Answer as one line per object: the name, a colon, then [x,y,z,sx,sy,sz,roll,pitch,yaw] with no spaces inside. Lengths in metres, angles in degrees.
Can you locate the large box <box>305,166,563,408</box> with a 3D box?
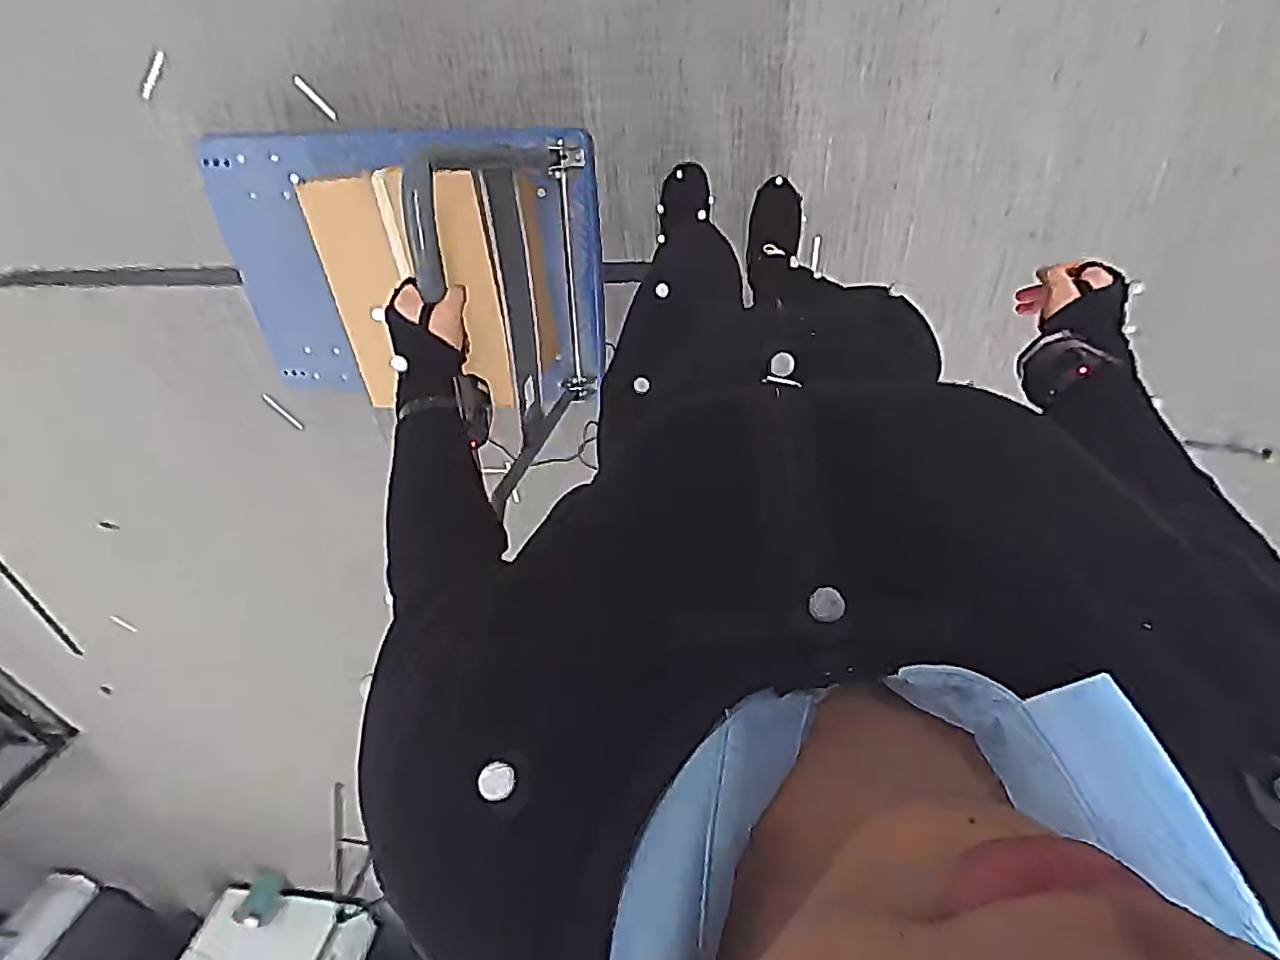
large box: [-0.370,-0.392,1.098,0.320,0.320,0.408,0,120,8]
